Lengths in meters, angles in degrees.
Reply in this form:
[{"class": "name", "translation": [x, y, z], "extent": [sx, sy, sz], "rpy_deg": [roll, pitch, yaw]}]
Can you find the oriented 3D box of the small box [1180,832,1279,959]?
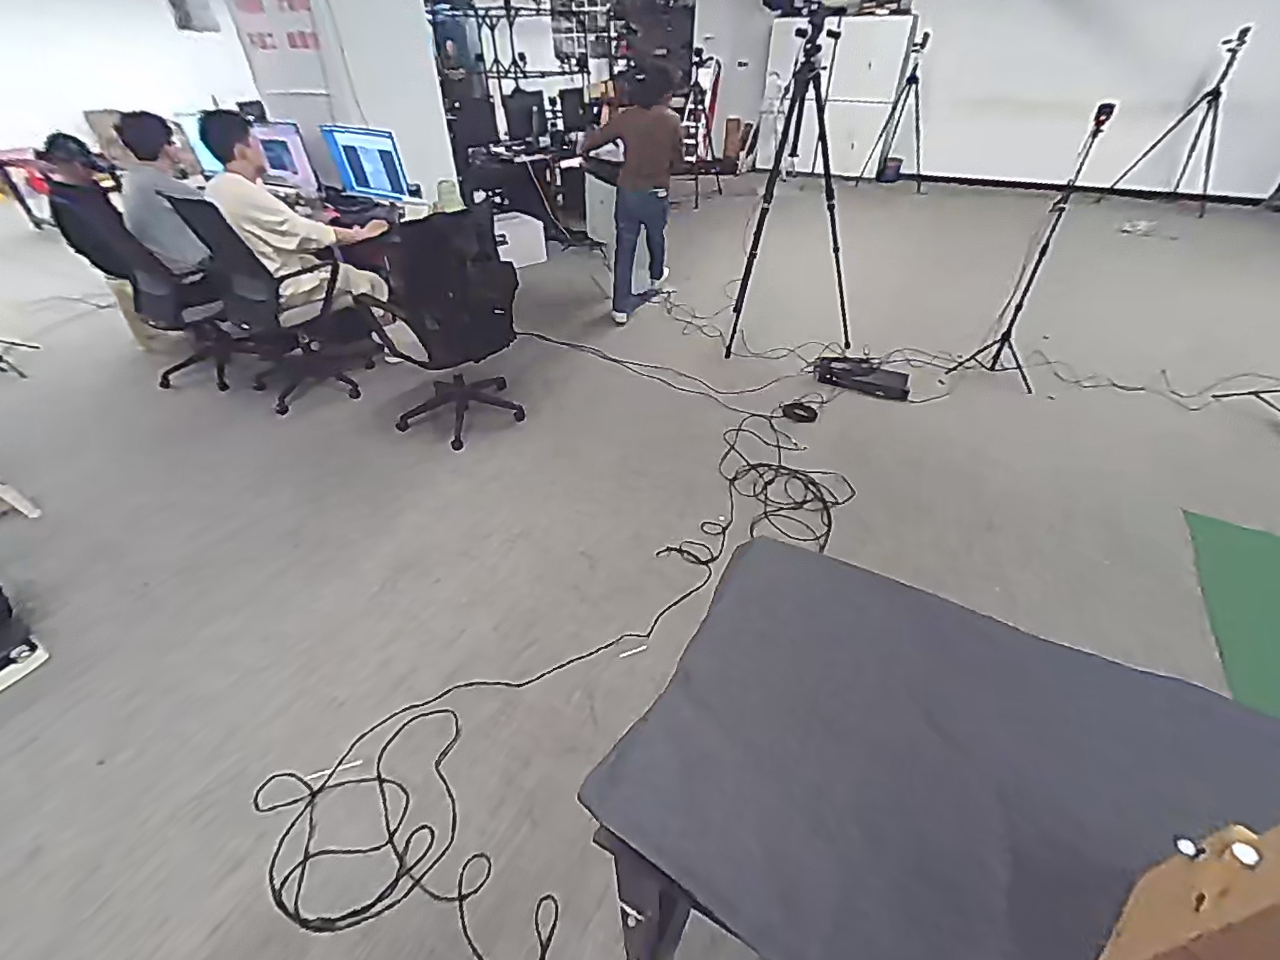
[{"class": "small box", "translation": [0.586, 0.370, 0.403], "extent": [0.168, 0.176, 0.179], "rpy_deg": [-18, 41, -23]}]
